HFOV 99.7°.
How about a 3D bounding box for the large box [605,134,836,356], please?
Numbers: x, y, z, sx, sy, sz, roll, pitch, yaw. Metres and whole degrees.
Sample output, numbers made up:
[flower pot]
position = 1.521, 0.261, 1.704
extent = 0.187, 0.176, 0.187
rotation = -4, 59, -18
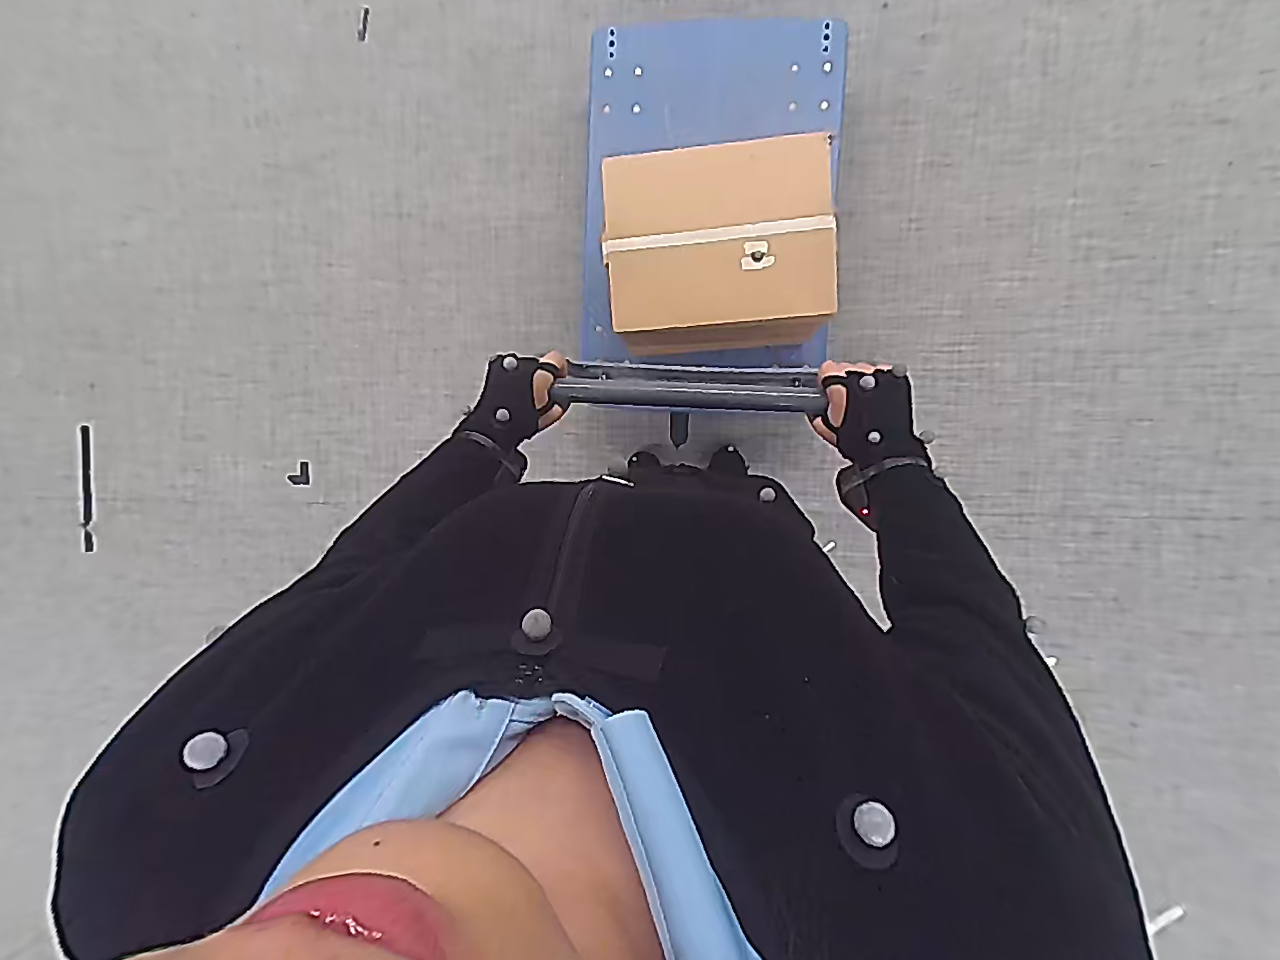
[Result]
[large box]
position = 0.156, -0.454, 1.129
extent = 0.408, 0.320, 0.320
rotation = -4, 95, 5
